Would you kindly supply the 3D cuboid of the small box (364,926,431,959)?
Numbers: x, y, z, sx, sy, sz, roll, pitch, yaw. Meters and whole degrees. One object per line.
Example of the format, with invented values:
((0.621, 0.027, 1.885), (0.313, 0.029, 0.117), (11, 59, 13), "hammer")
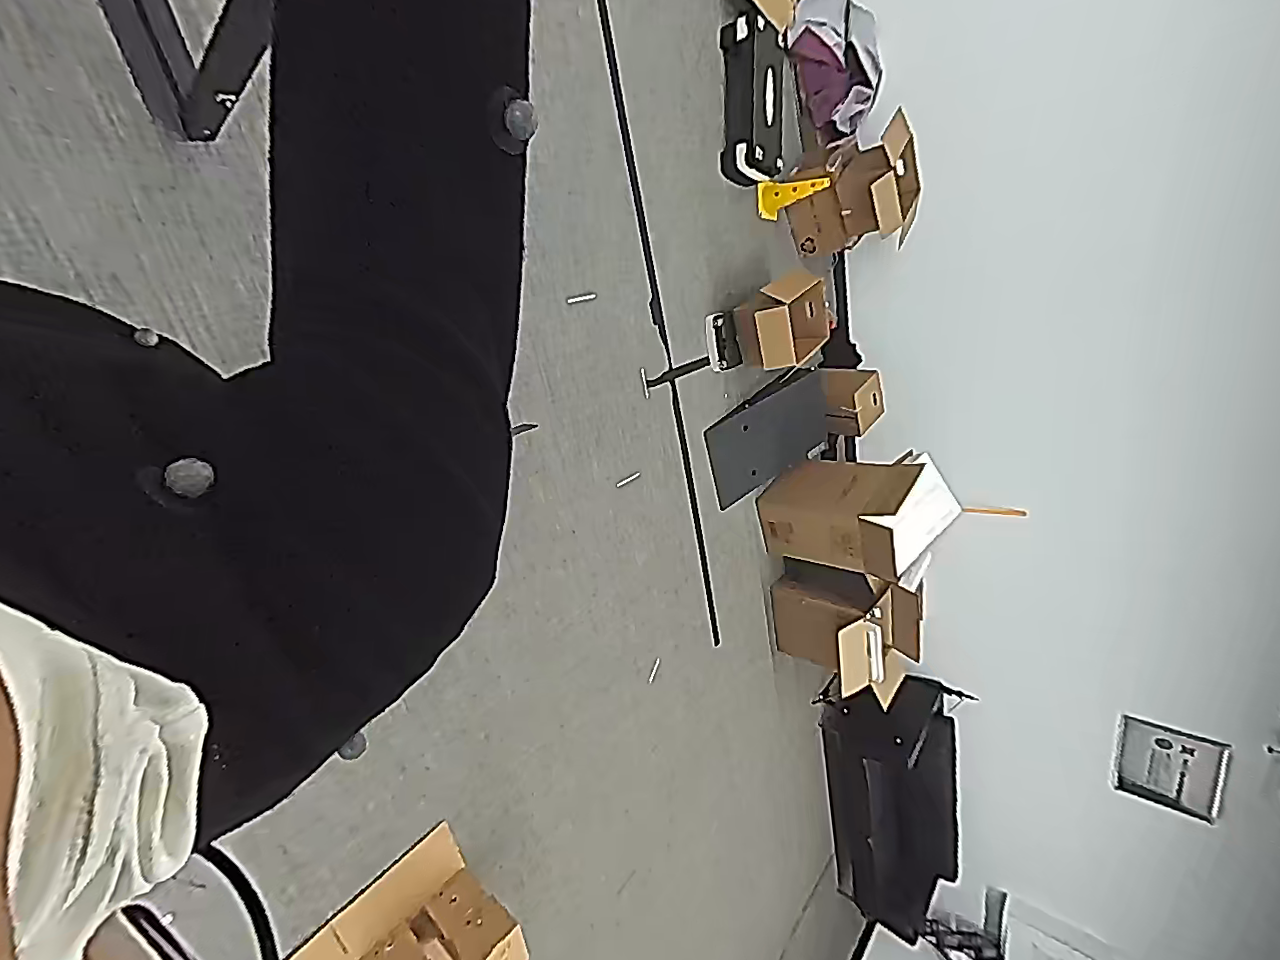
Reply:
((-0.772, 1.607, 1.743), (0.168, 0.176, 0.179), (-26, 114, -43), "small box")

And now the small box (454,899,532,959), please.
((-0.489, 1.559, 1.799), (0.168, 0.176, 0.179), (-27, 114, -43), "small box")

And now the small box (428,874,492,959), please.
((-0.619, 1.540, 1.900), (0.168, 0.176, 0.179), (-27, 115, -43), "small box")
